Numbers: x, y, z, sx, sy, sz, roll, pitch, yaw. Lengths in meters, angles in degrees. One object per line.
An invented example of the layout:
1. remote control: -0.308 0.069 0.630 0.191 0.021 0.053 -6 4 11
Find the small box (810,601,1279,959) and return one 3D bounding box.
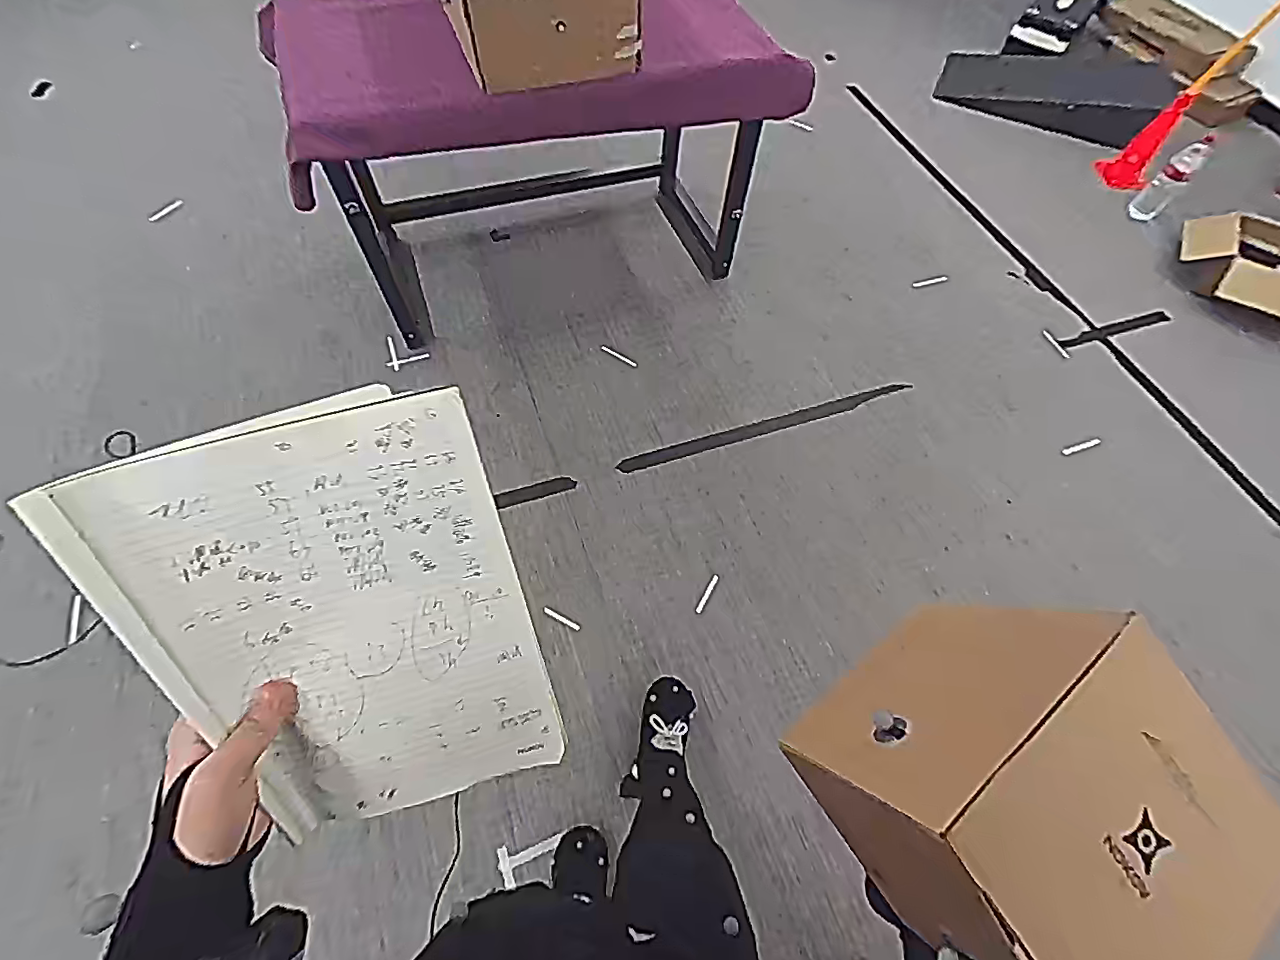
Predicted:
1. small box: 0.238 0.196 0.350 0.179 0.176 0.168 -35 90 -18
